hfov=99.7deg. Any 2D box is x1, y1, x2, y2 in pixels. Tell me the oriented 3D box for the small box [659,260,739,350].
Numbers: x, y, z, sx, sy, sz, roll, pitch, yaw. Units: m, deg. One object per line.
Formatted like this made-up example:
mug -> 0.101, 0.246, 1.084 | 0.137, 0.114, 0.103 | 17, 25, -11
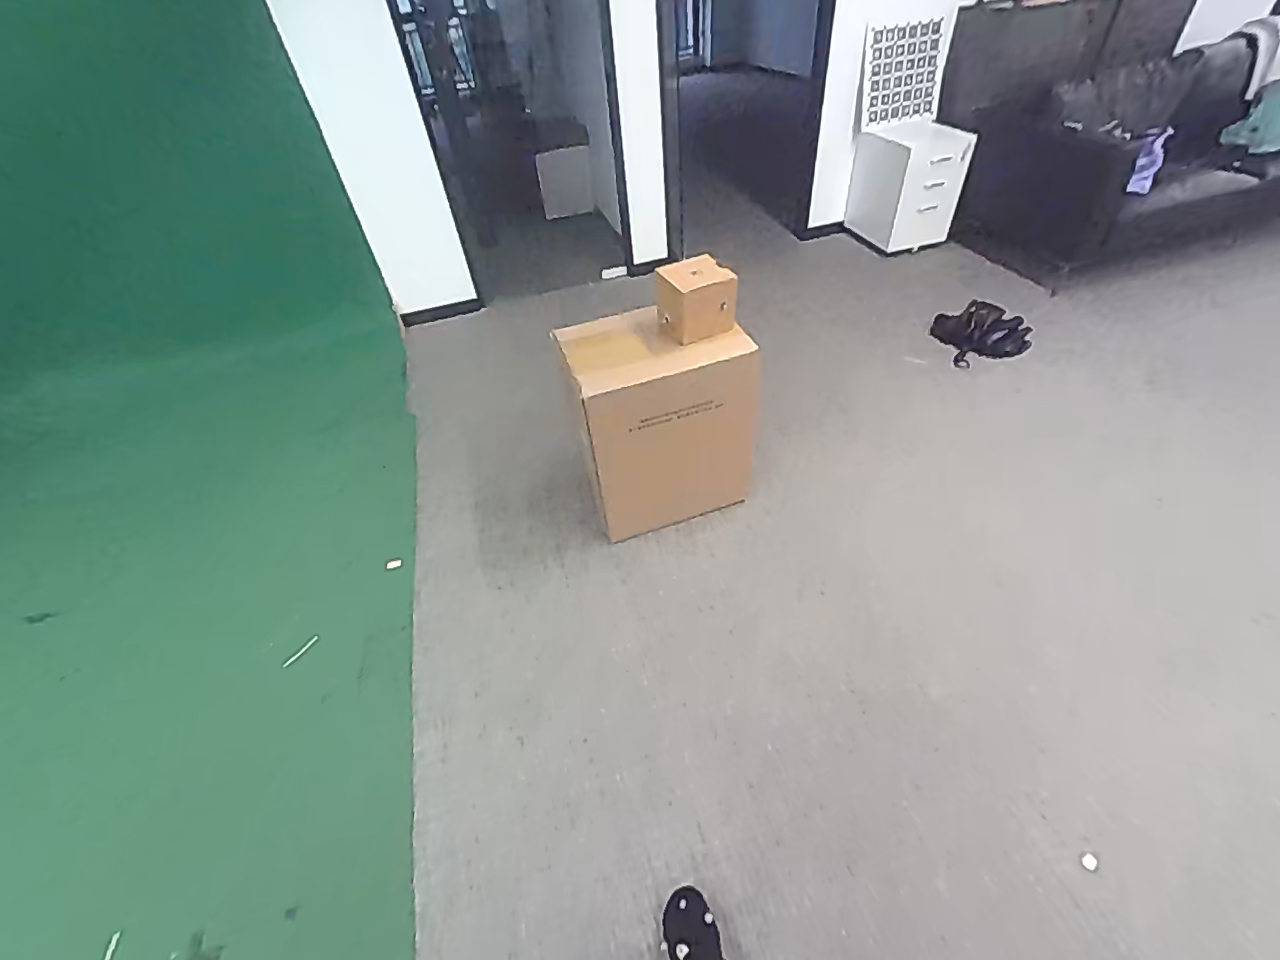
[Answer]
small box -> 0.171, -0.511, 1.585 | 0.179, 0.176, 0.168 | -24, 49, -14
